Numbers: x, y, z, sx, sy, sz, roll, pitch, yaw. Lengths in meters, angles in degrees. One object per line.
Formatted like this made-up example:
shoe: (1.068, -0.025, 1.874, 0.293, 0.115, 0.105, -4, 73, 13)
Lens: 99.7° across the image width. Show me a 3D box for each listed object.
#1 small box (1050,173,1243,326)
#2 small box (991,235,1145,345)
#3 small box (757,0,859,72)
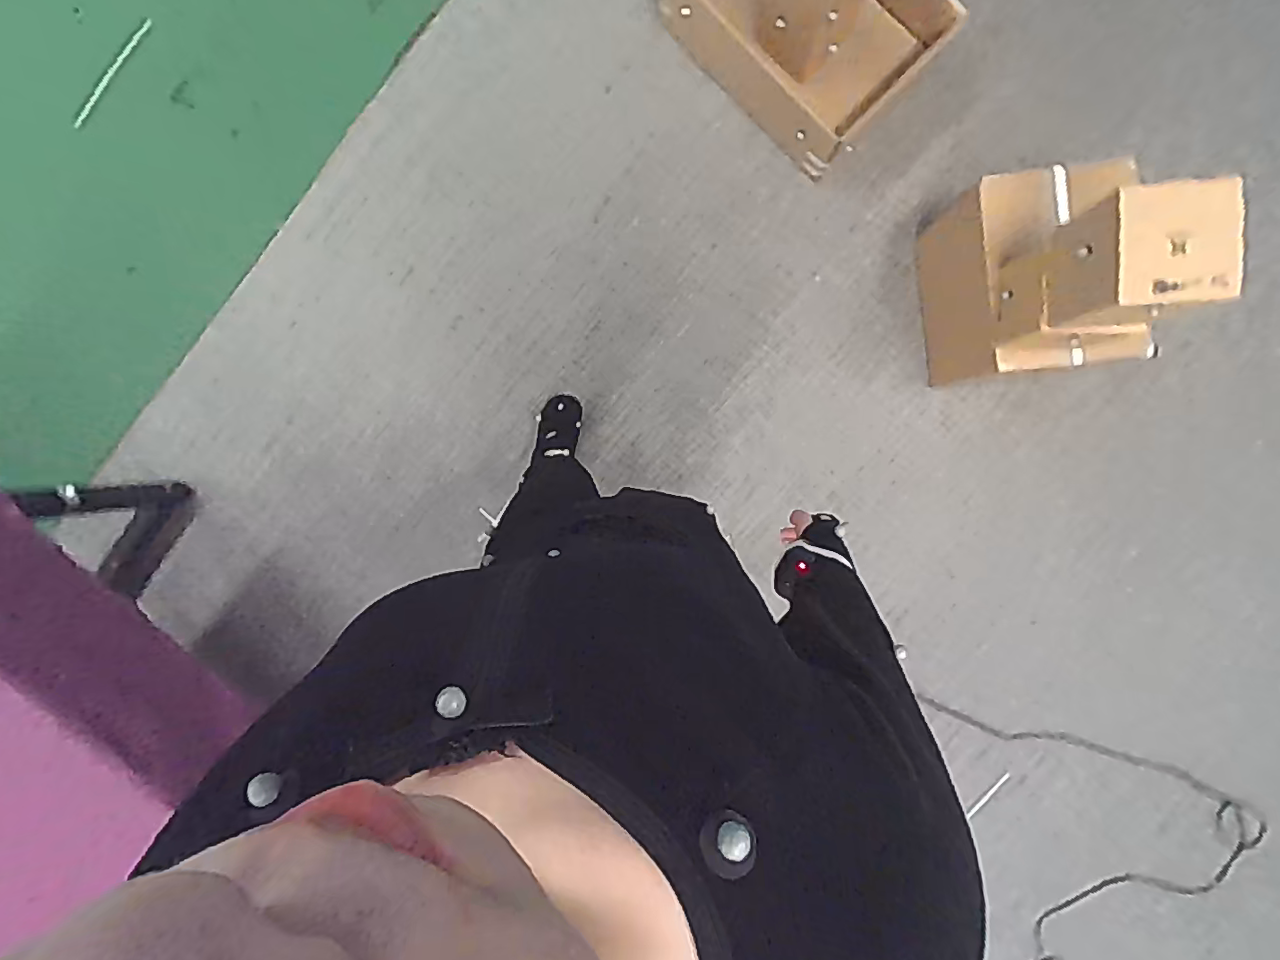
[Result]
small box: (0.797, -0.359, 0.870, 0.168, 0.176, 0.179, -1, 93, 7)
small box: (0.815, -0.356, 1.034, 0.179, 0.176, 0.168, 3, 94, 7)
small box: (0.399, -1.131, 1.277, 0.168, 0.176, 0.179, -44, 90, 5)
